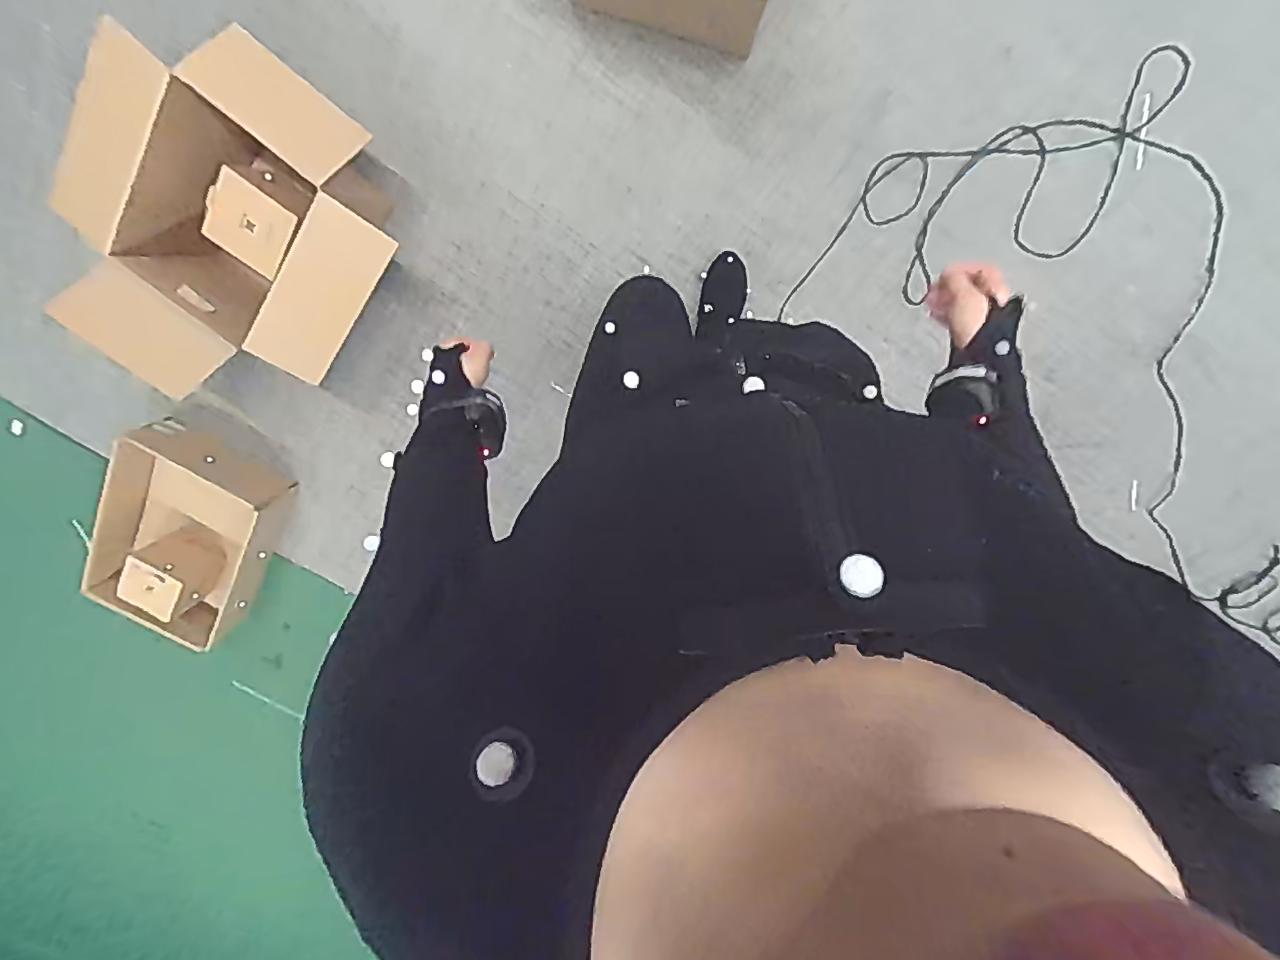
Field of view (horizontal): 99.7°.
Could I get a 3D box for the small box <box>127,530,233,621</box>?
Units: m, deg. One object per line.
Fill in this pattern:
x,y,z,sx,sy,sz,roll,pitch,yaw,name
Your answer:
-1.398,0.287,1.653,0.168,0.176,0.179,33,111,-7,small box
